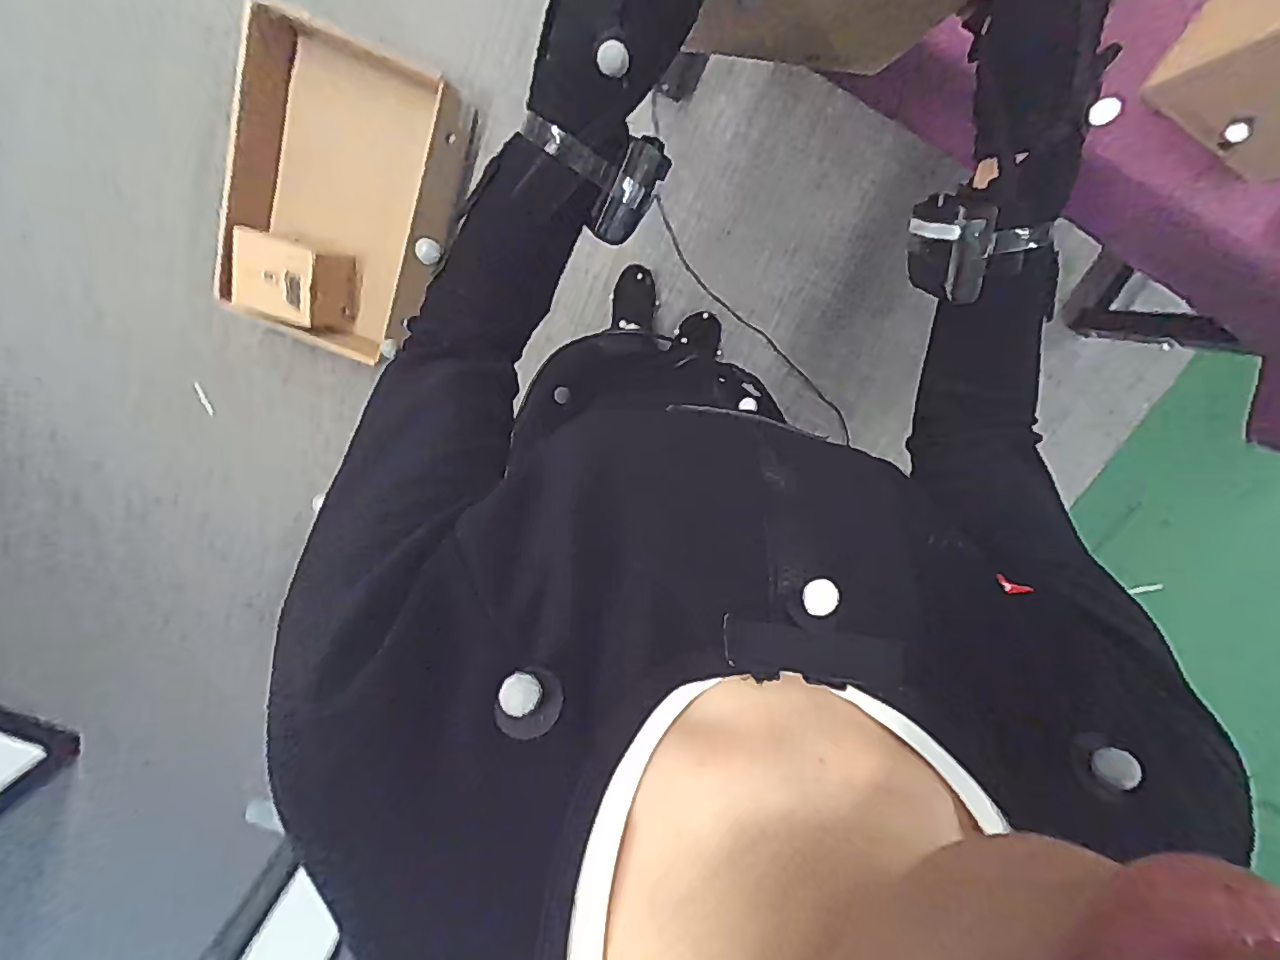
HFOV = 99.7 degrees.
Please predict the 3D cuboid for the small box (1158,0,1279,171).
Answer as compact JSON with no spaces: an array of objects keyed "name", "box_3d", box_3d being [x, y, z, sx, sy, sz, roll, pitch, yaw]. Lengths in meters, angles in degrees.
[{"name":"small box","box_3d":[0.633,-0.408,0.468,0.168,0.176,0.179,31,108,-7]}]
